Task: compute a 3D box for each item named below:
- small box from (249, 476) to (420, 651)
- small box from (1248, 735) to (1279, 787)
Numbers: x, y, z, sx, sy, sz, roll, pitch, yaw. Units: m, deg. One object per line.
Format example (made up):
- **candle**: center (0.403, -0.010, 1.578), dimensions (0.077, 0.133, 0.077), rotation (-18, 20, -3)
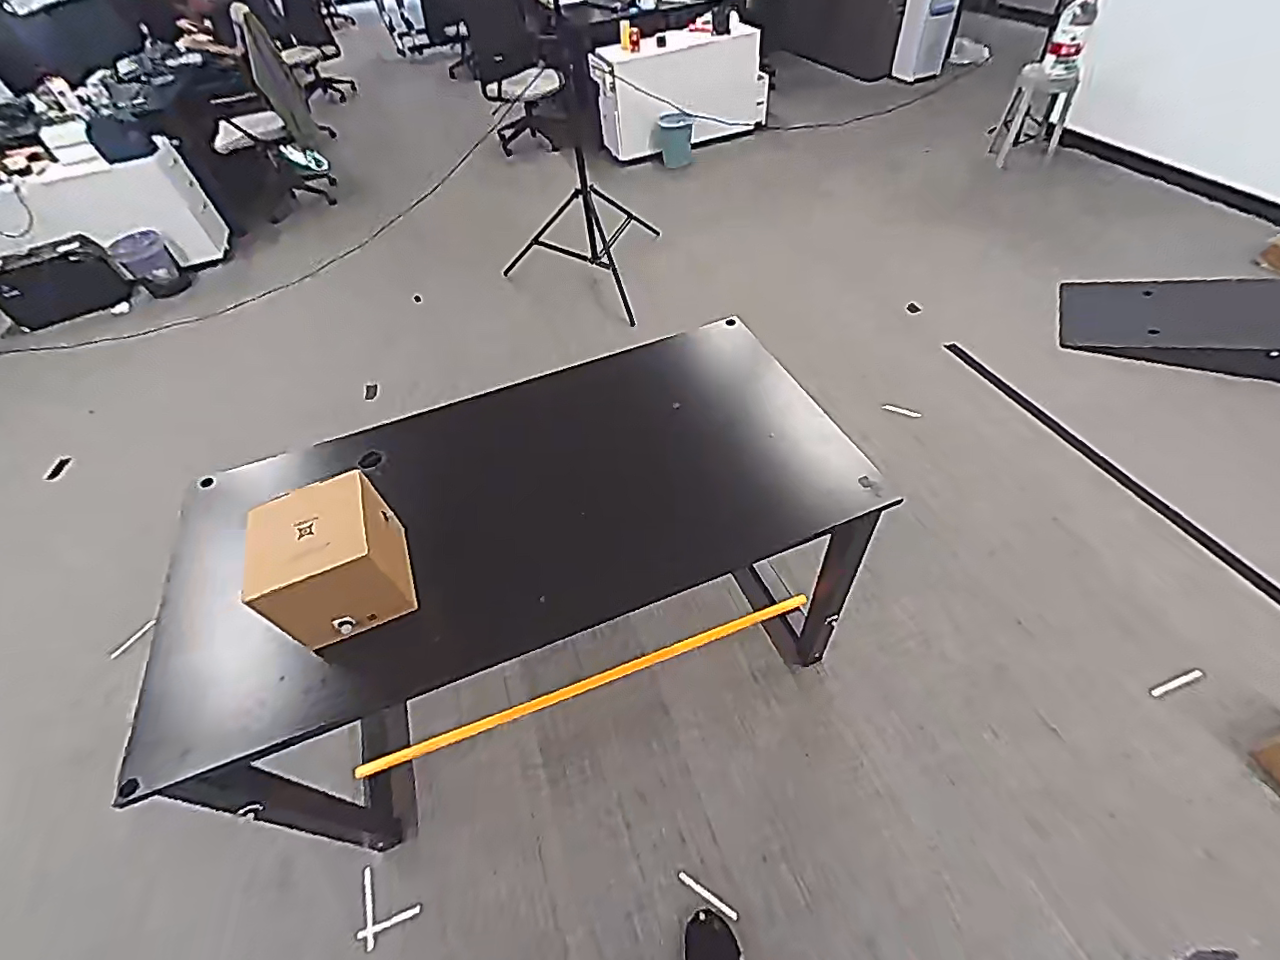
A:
- **small box**: center (-0.462, 0.130, 0.835), dimensions (0.168, 0.176, 0.179), rotation (-23, 52, -11)
- **small box**: center (1.490, 0.615, 1.144), dimensions (0.168, 0.176, 0.179), rotation (-18, 50, -8)
